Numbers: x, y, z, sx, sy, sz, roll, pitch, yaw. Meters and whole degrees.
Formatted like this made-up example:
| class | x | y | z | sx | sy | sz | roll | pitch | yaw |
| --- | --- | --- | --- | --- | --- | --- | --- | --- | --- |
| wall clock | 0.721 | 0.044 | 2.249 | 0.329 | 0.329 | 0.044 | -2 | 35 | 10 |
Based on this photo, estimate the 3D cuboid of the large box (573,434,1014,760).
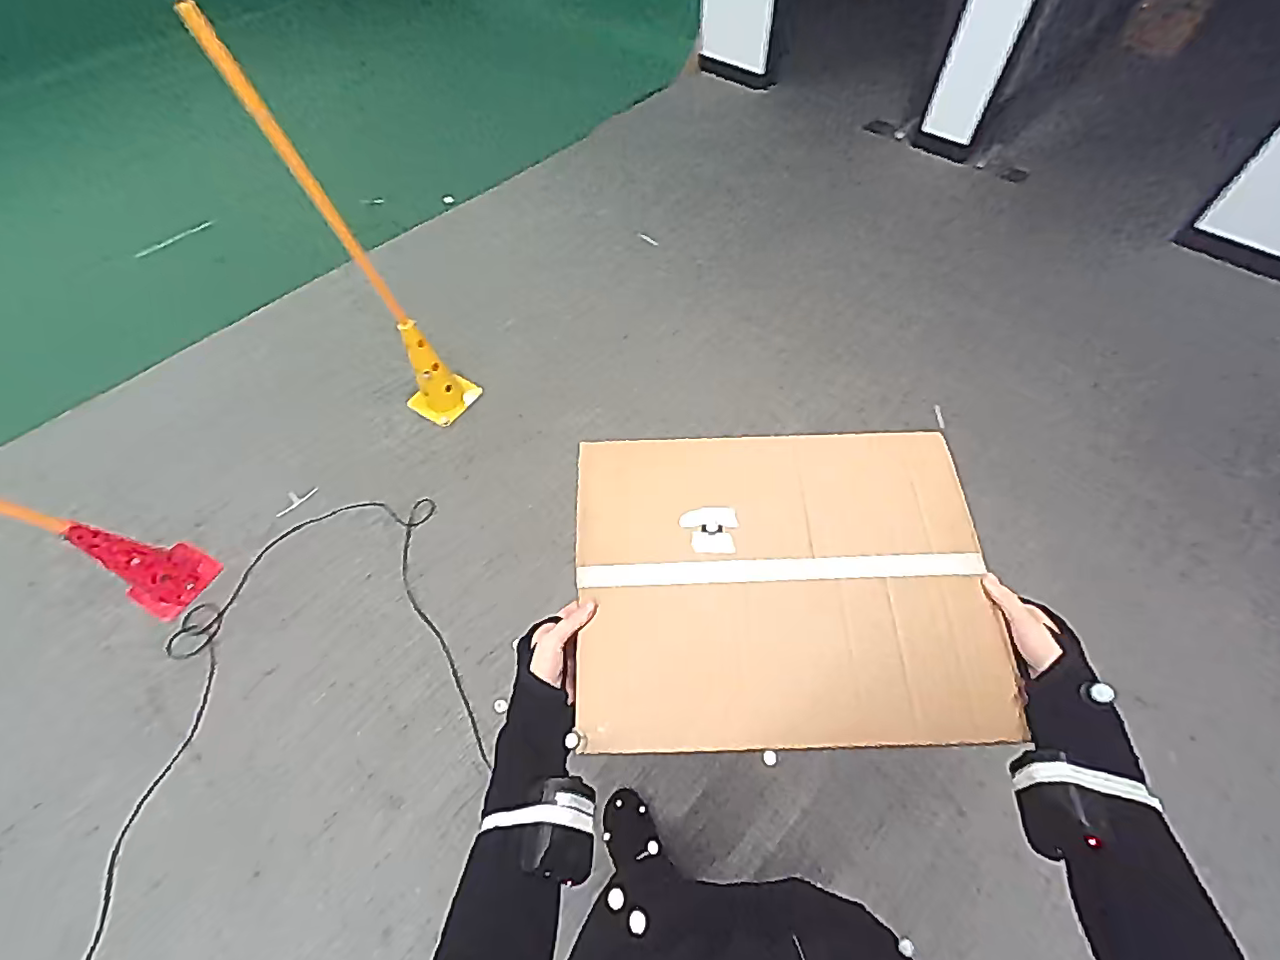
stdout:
| class | x | y | z | sx | sy | sz | roll | pitch | yaw |
| --- | --- | --- | --- | --- | --- | --- | --- | --- | --- |
| large box | 0.139 | 0.163 | 0.682 | 0.408 | 0.320 | 0.320 | -4 | 63 | 1 |
